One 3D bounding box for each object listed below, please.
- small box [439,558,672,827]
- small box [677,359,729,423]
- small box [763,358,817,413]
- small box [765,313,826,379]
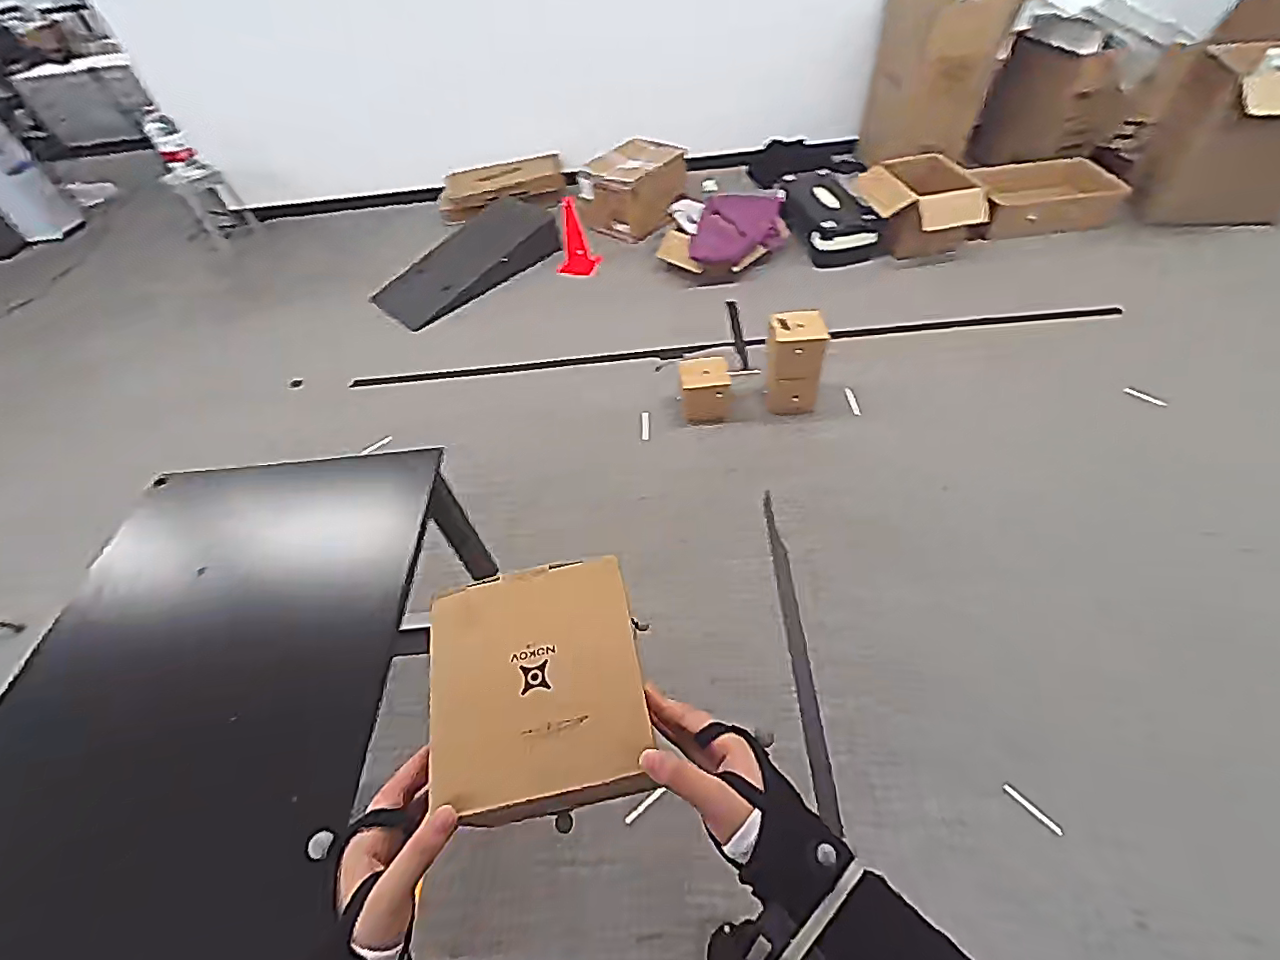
[{"bbox_3d":[-0.069,0.196,0.489,0.168,0.176,0.179,-12,57,-2],"label":"small box"},{"bbox_3d":[0.240,-0.340,2.075,0.179,0.176,0.168,-7,50,2],"label":"small box"},{"bbox_3d":[0.567,-0.370,2.062,0.168,0.176,0.179,-3,51,4],"label":"small box"},{"bbox_3d":[0.547,-0.476,1.936,0.179,0.176,0.168,-4,50,2],"label":"small box"}]
